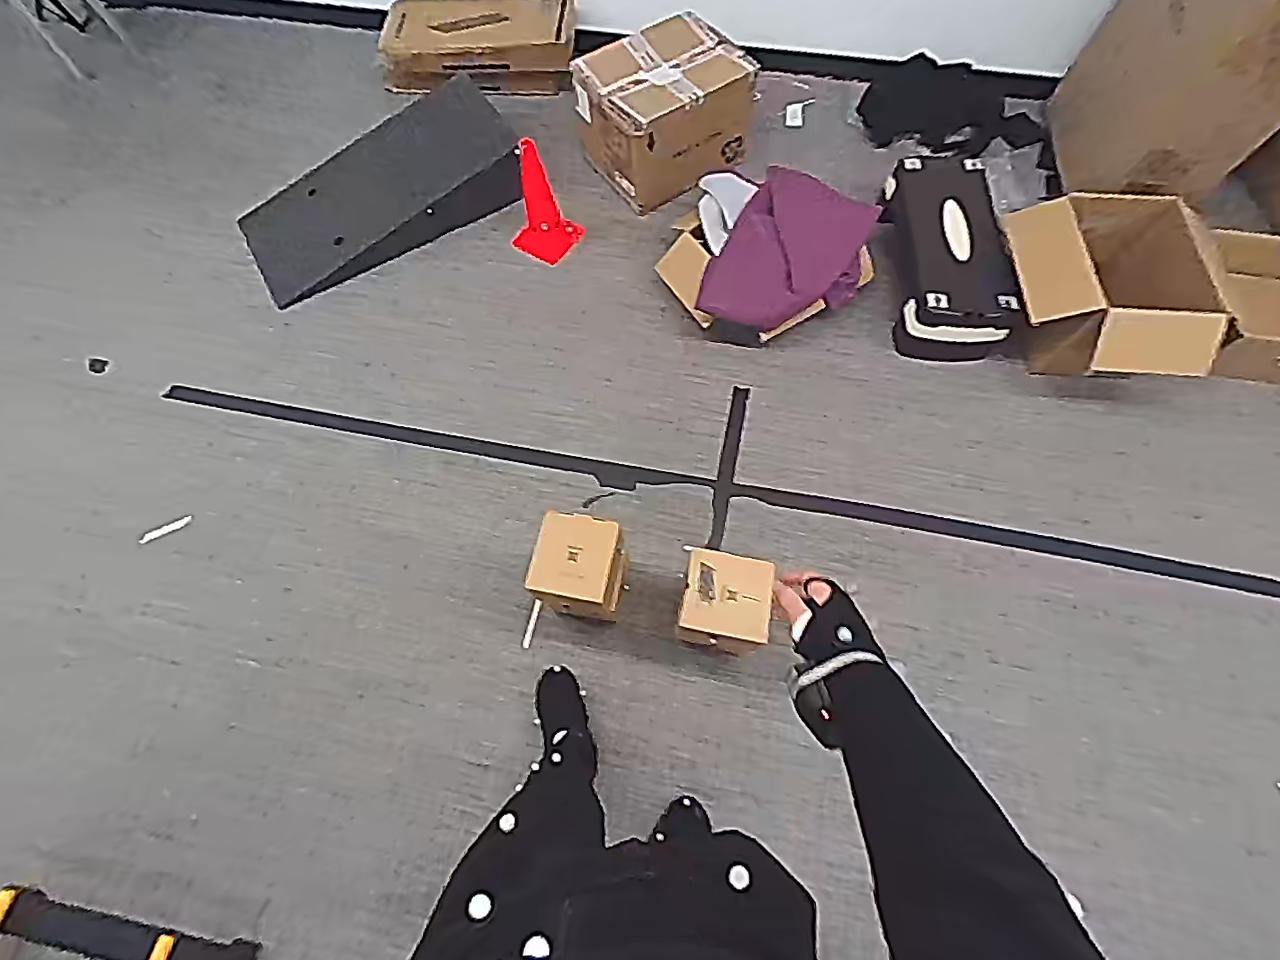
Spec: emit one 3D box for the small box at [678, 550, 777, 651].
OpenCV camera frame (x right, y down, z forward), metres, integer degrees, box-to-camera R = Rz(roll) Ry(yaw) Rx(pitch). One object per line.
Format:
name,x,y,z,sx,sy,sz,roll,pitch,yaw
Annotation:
small box,0.181,0.264,1.160,0.179,0.176,0.168,10,68,5

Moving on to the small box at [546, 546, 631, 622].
small box,-0.122,0.251,1.350,0.179,0.176,0.168,9,67,6

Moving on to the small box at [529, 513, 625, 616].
small box,-0.130,0.191,1.199,0.168,0.176,0.179,9,69,7
